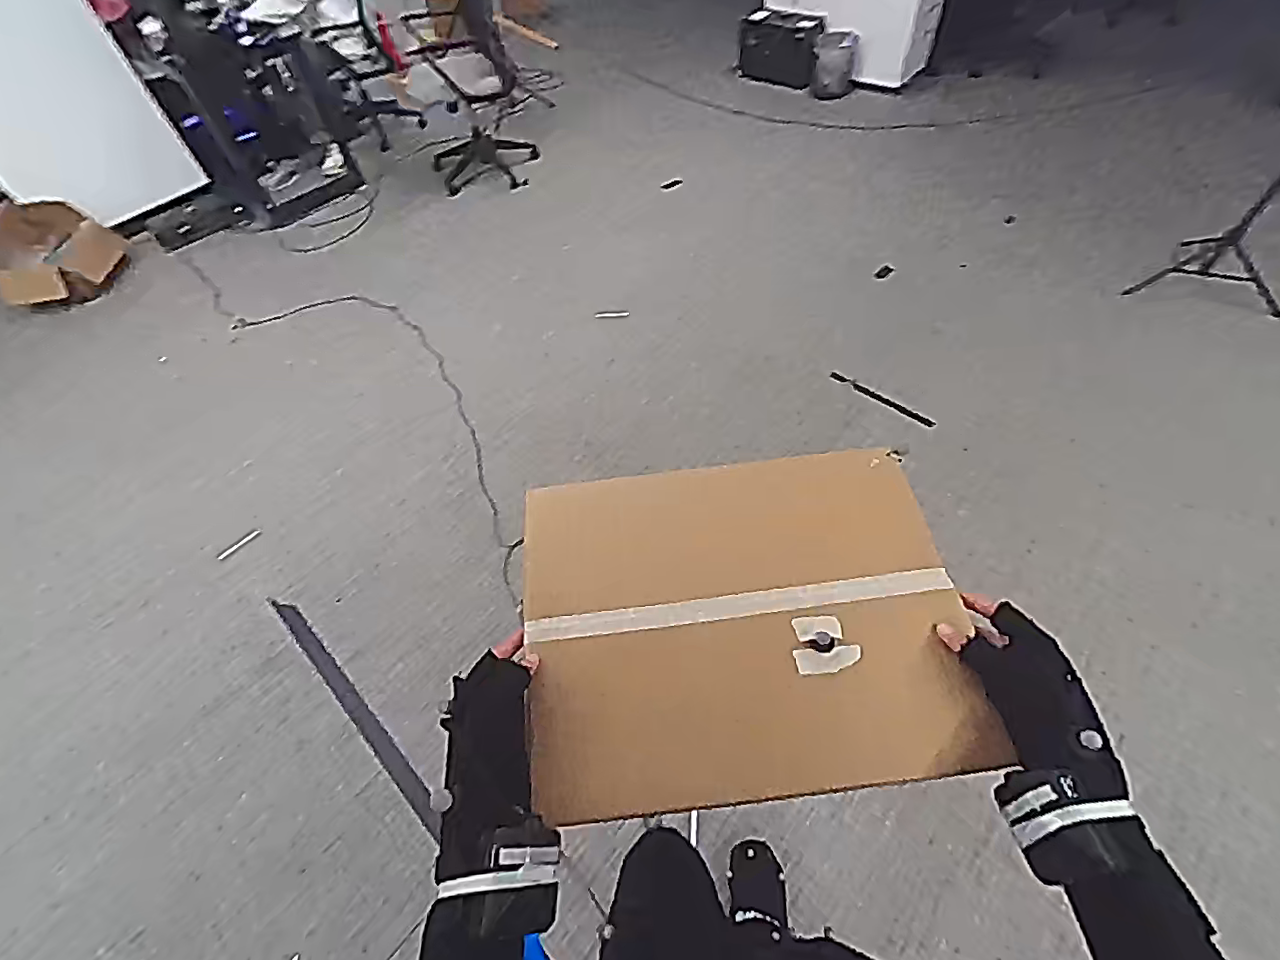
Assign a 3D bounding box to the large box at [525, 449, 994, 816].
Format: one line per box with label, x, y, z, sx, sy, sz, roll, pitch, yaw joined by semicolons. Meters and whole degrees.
large box;0.094;0.198;0.655;0.408;0.320;0.320;-7;59;-1
